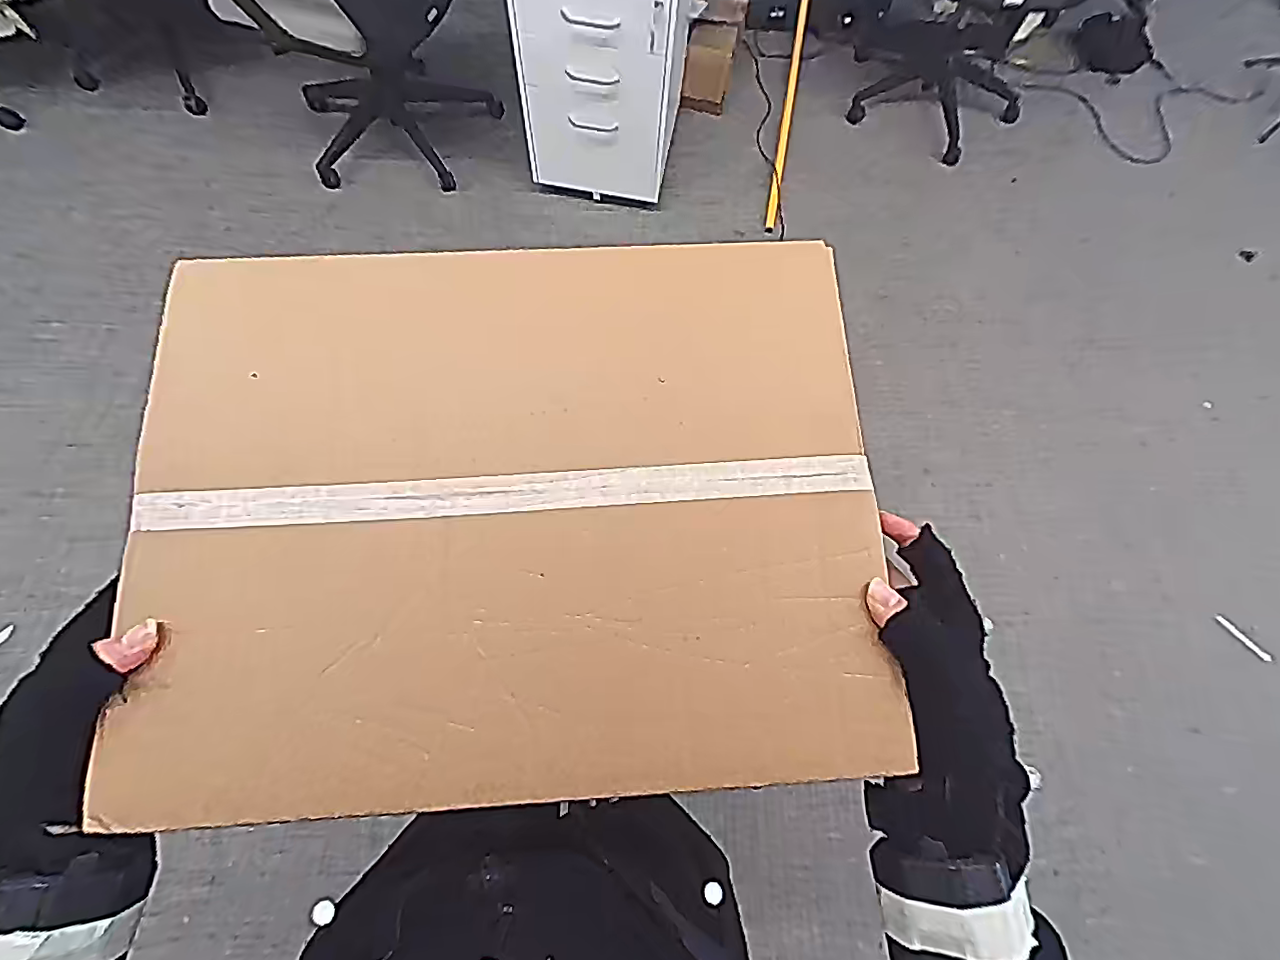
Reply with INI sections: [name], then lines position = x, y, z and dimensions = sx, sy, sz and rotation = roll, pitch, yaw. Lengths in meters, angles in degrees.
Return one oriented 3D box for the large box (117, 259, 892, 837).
[large box]
position = -0.076, 0.051, 0.455
dimensions = 0.408, 0.320, 0.320
rotation = -3, 75, -2
